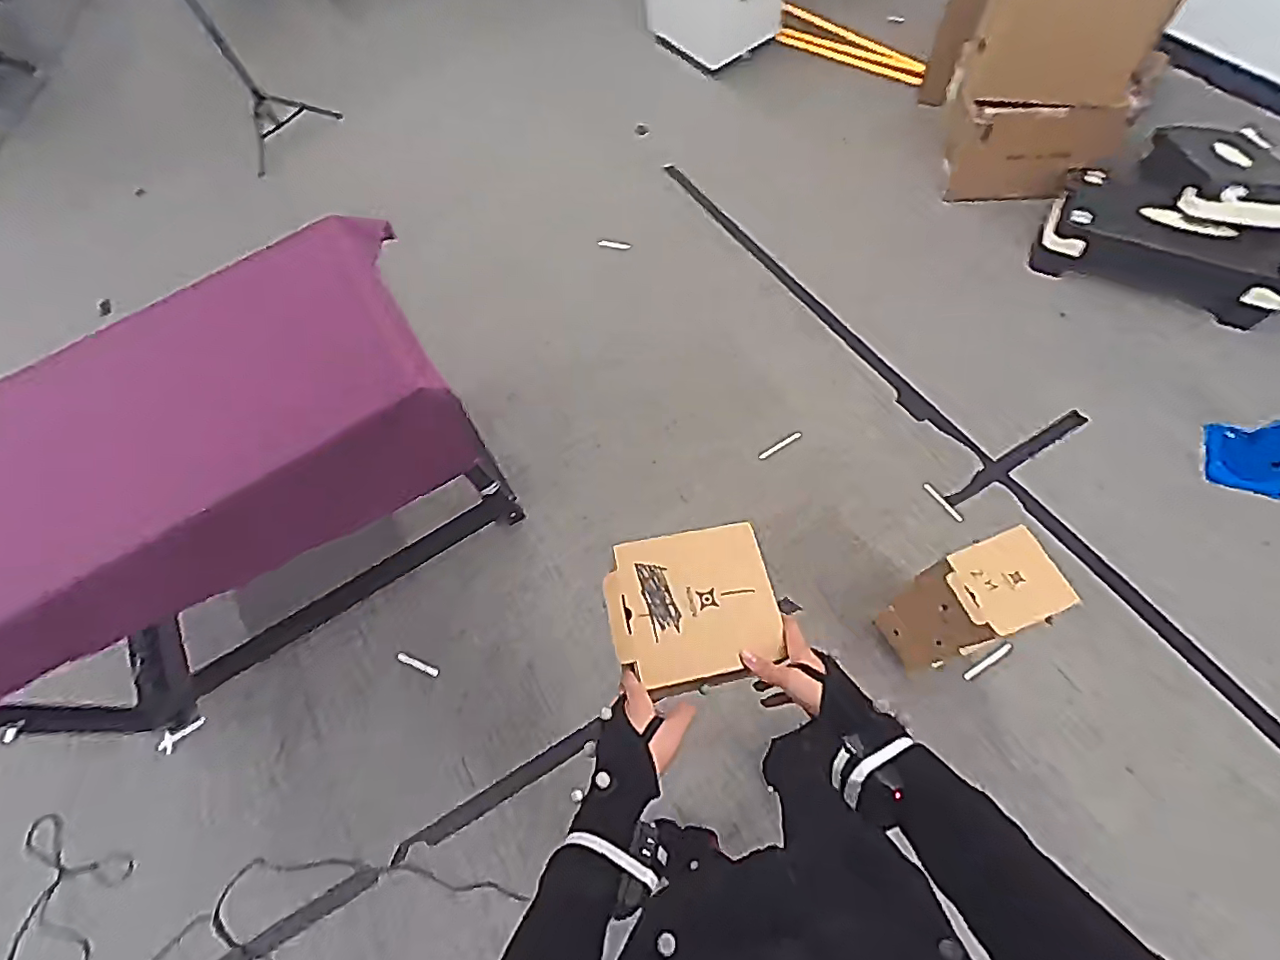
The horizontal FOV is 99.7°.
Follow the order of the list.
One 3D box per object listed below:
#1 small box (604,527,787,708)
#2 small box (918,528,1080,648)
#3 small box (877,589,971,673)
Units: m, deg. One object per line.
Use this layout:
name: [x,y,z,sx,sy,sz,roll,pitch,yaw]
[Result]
small box: [0.055,0.179,0.681,0.179,0.176,0.168,-10,64,-10]
small box: [0.701,0.221,1.081,0.179,0.176,0.168,-21,65,-3]
small box: [0.731,0.373,1.372,0.179,0.176,0.168,-27,65,-6]
